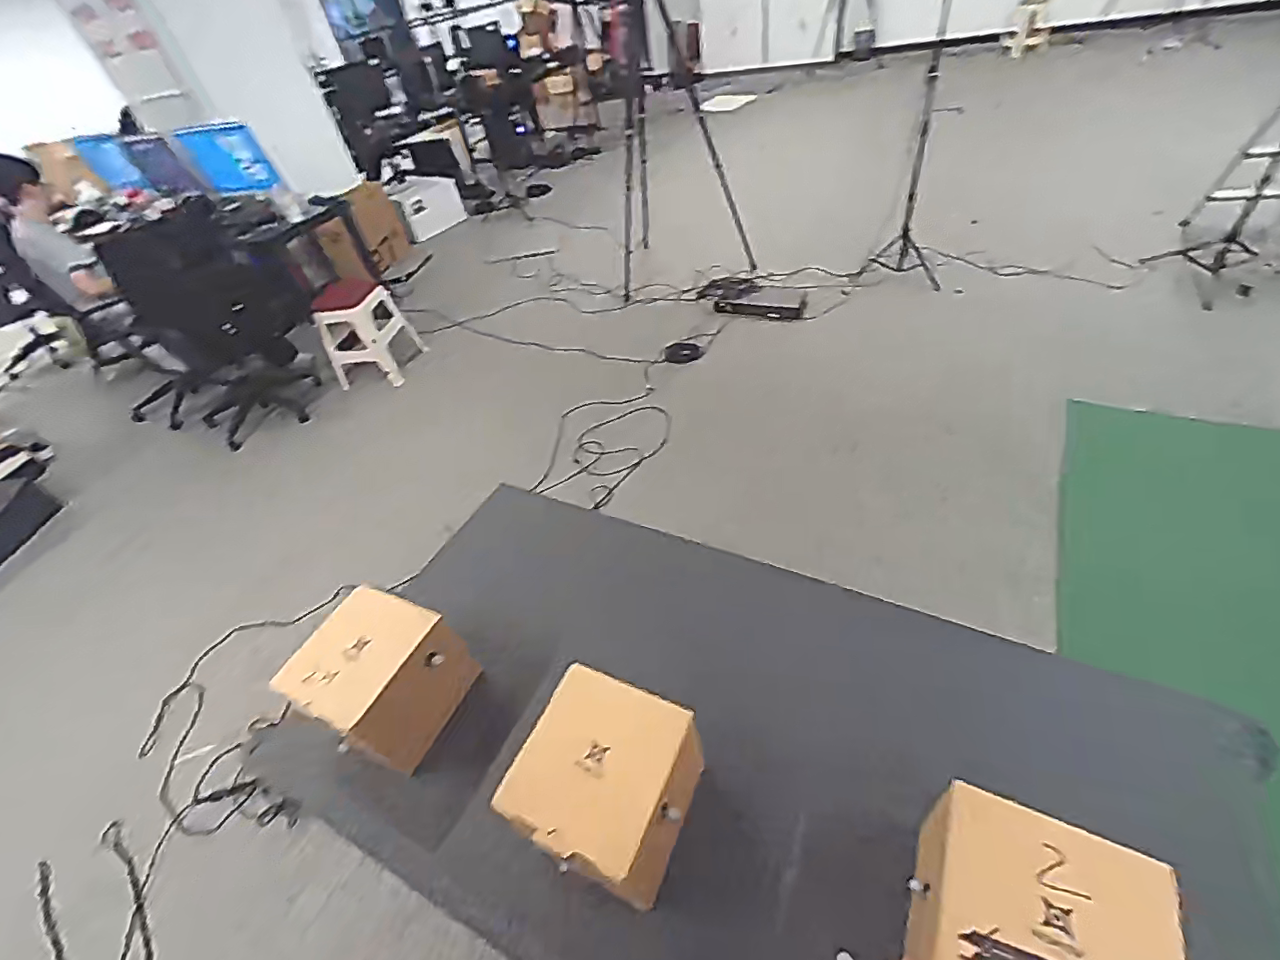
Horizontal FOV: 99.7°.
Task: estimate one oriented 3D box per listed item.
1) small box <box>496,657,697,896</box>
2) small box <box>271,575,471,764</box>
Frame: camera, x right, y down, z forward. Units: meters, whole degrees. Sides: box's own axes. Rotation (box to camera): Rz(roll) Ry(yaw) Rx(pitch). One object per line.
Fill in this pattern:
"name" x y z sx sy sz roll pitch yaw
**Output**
"small box" -0.037 0.353 0.650 0.168 0.176 0.179 14 50 24
"small box" -0.374 0.276 0.793 0.168 0.176 0.179 14 50 24
